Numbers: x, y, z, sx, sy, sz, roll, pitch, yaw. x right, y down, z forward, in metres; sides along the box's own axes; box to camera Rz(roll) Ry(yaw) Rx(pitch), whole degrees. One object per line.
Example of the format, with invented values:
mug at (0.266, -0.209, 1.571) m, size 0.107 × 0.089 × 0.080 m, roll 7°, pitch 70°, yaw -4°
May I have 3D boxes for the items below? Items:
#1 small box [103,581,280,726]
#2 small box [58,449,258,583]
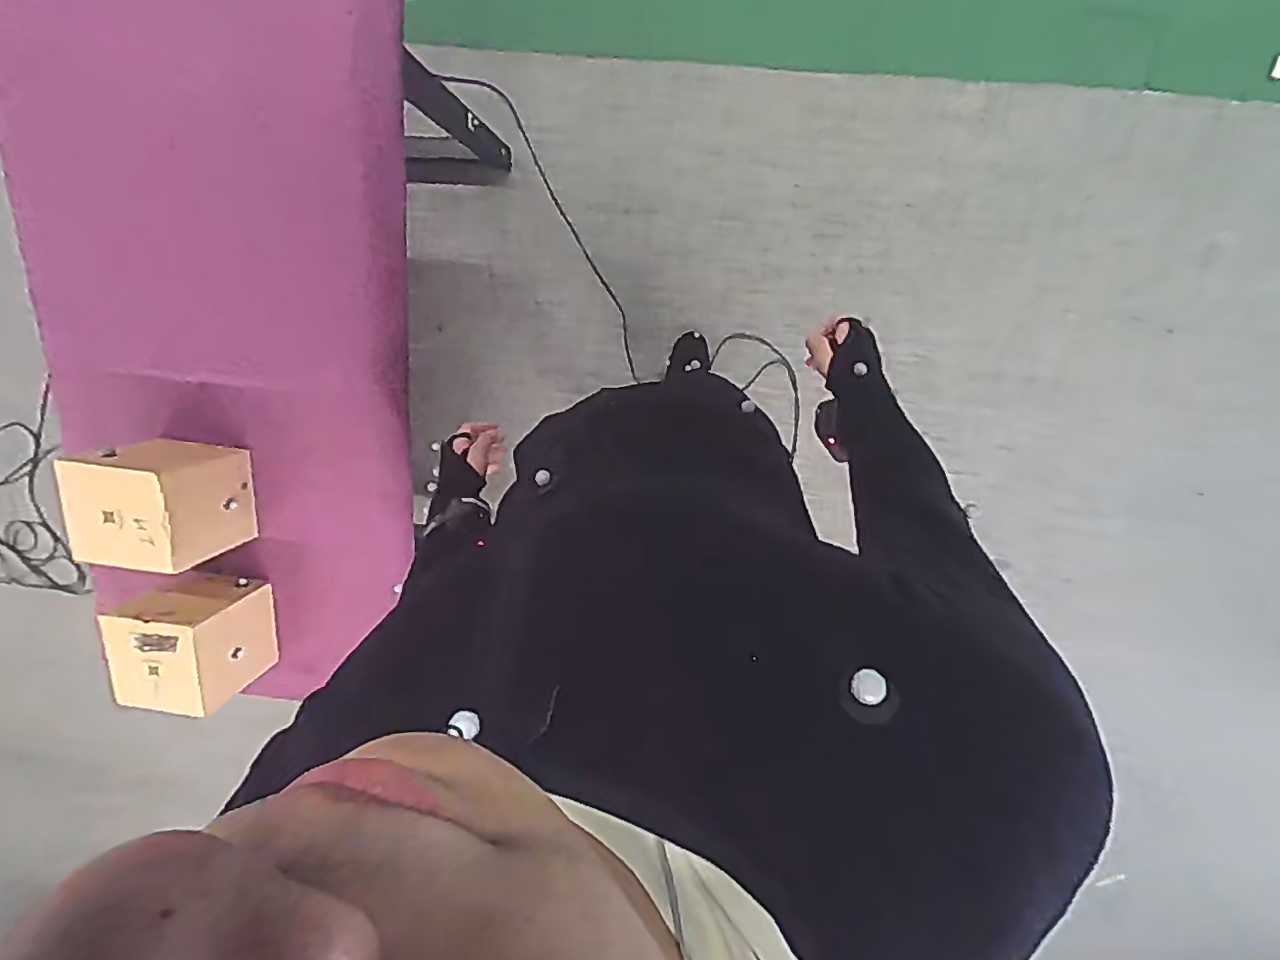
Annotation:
small box at (-0.778, 0.297, 0.959) m, size 0.168 × 0.176 × 0.179 m, roll 6°, pitch 106°, yaw 4°
small box at (-0.780, 0.050, 0.893) m, size 0.179 × 0.176 × 0.168 m, roll 7°, pitch 106°, yaw 4°
